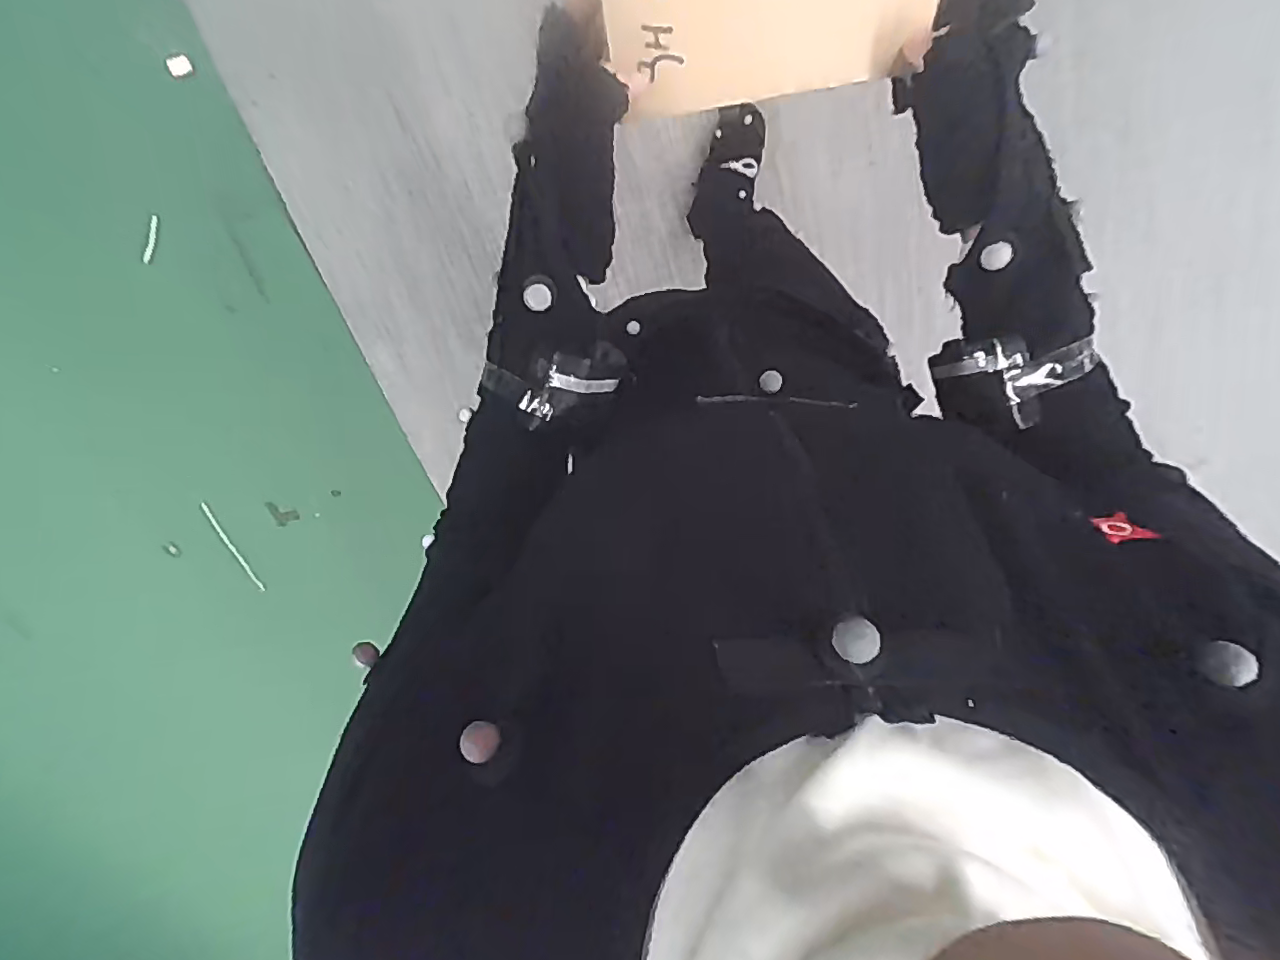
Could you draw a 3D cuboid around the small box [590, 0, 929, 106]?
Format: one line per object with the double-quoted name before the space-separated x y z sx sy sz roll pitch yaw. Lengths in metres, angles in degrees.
"small box" 0.055 -0.335 0.318 0.179 0.176 0.168 -9 127 0
